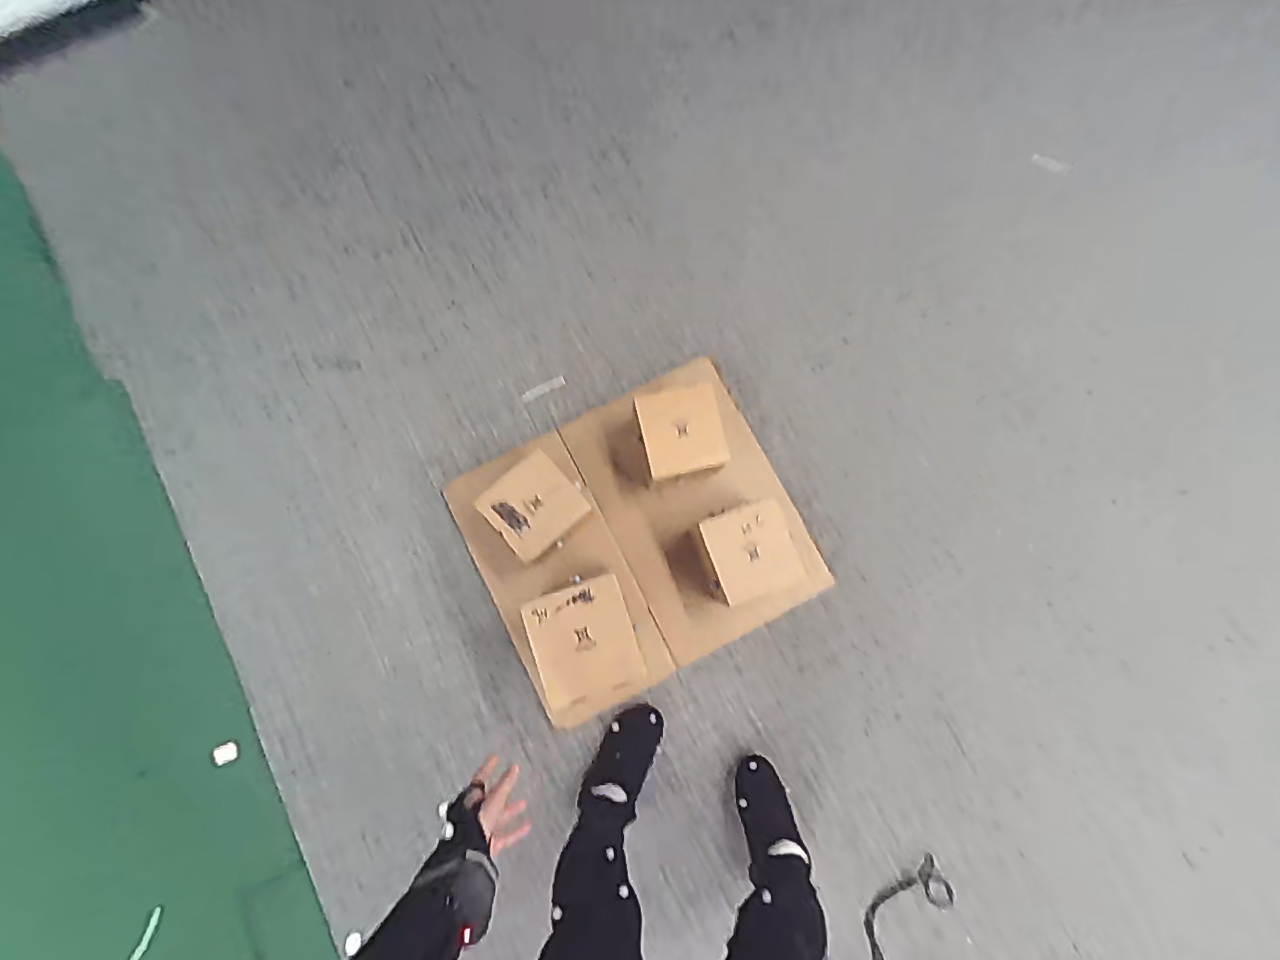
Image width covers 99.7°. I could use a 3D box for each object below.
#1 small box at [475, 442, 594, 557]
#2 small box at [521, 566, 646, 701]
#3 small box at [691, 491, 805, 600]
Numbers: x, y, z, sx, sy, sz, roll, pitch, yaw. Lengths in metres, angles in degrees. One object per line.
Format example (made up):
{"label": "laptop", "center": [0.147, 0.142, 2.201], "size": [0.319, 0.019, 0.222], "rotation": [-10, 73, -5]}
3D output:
{"label": "small box", "center": [-0.212, 0.050, 1.147], "size": [0.179, 0.176, 0.168], "rotation": [-41, 84, -8]}
{"label": "small box", "center": [-0.092, 0.257, 0.949], "size": [0.168, 0.176, 0.179], "rotation": [-18, 82, -5]}
{"label": "small box", "center": [0.217, 0.138, 1.134], "size": [0.168, 0.176, 0.179], "rotation": [-20, 81, -4]}
